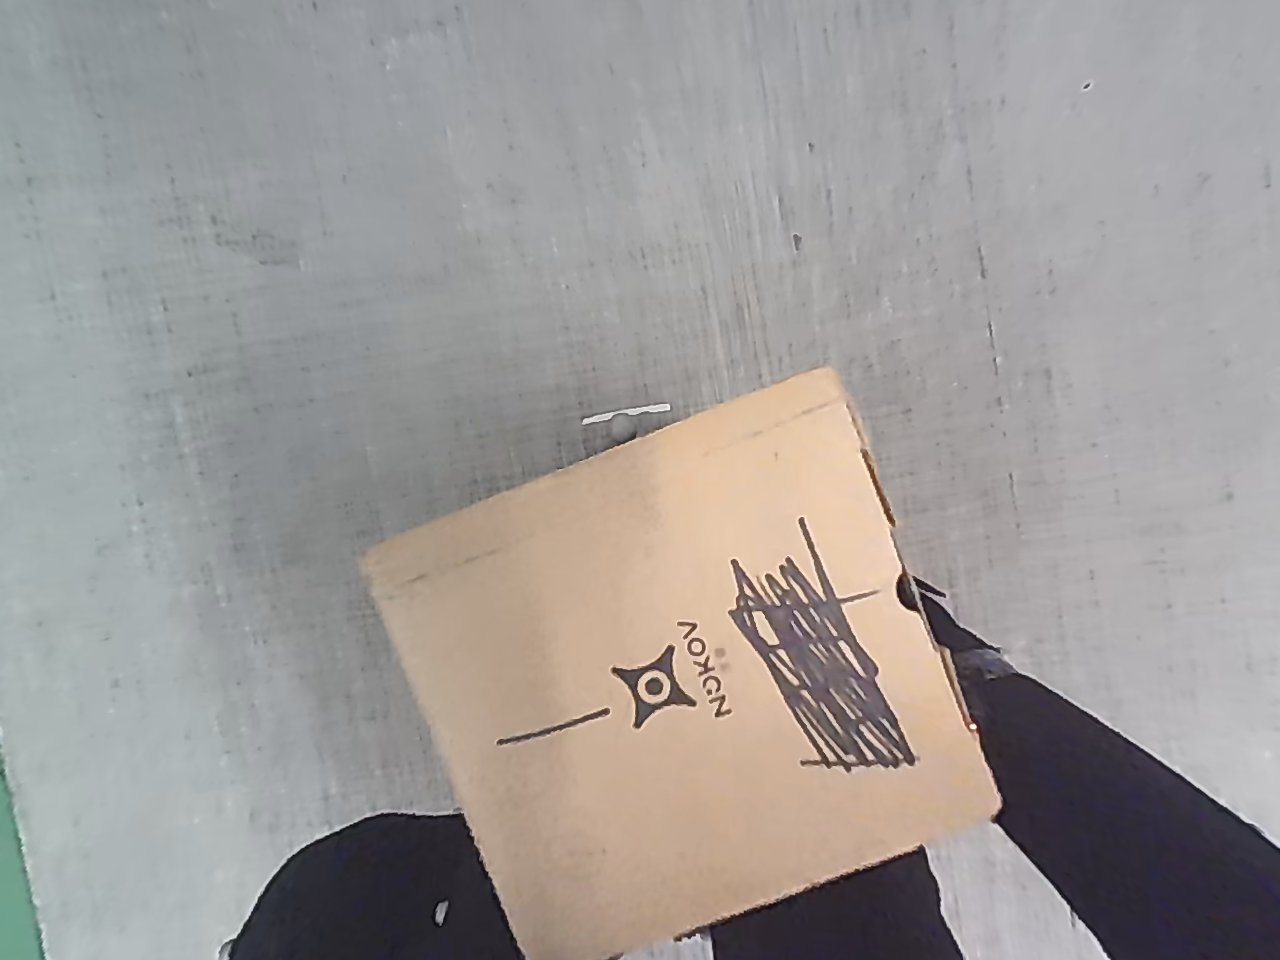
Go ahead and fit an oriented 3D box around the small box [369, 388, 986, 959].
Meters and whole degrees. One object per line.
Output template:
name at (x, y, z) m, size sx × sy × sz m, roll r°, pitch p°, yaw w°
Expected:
small box at (0.015, 0.068, 0.268) m, size 0.179 × 0.176 × 0.168 m, roll -22°, pitch 91°, yaw 4°
